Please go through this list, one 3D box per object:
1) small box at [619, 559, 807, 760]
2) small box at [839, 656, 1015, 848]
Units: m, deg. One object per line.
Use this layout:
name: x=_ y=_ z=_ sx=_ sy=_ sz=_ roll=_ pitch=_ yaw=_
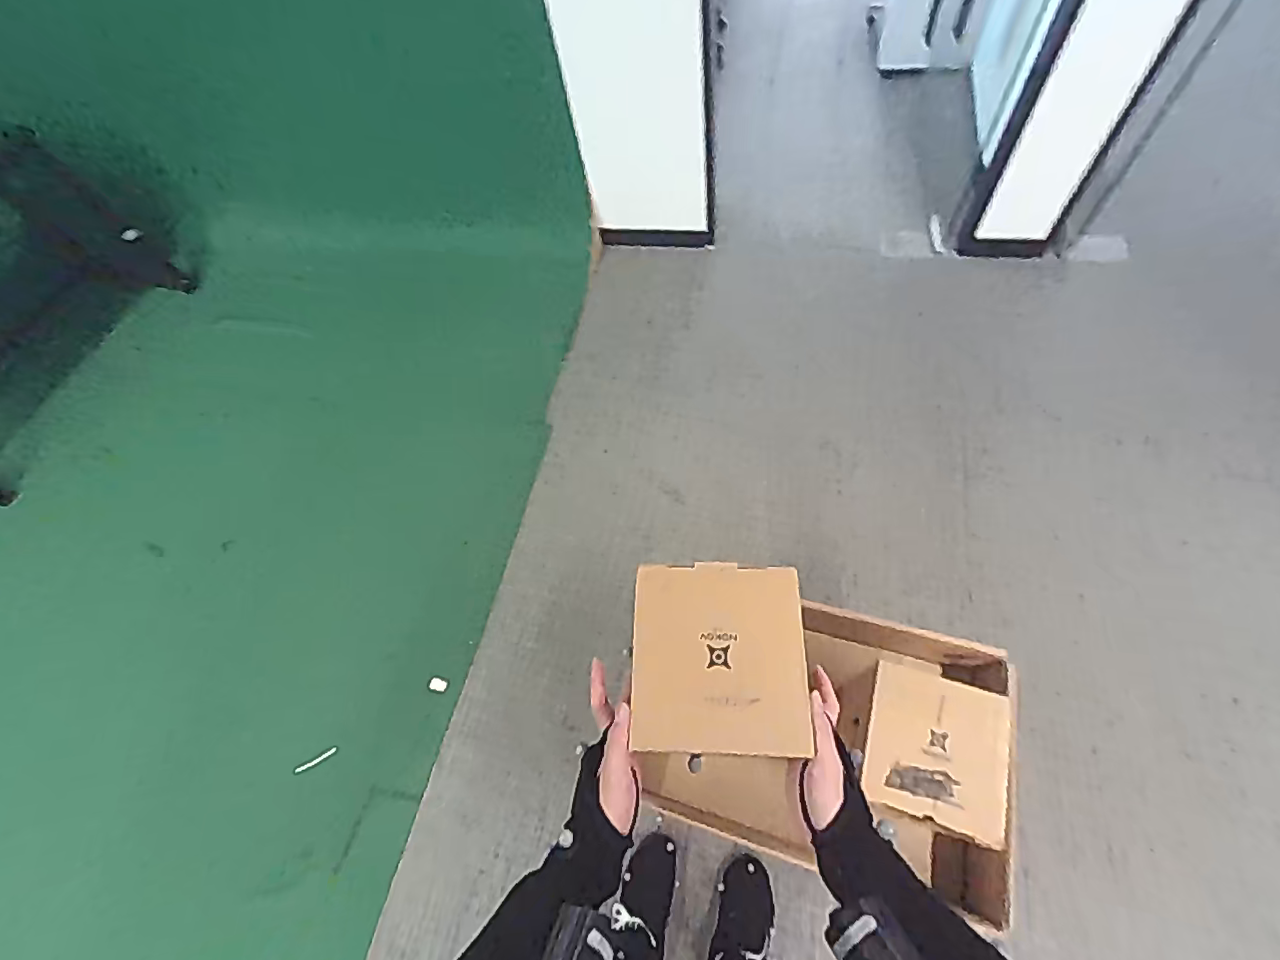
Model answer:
small box: x=0.069 y=0.194 z=0.574 sx=0.168 sy=0.176 sz=0.179 roll=0 pitch=63 yaw=4
small box: x=0.382 y=0.367 z=0.744 sx=0.168 sy=0.176 sz=0.179 roll=14 pitch=65 yaw=15
